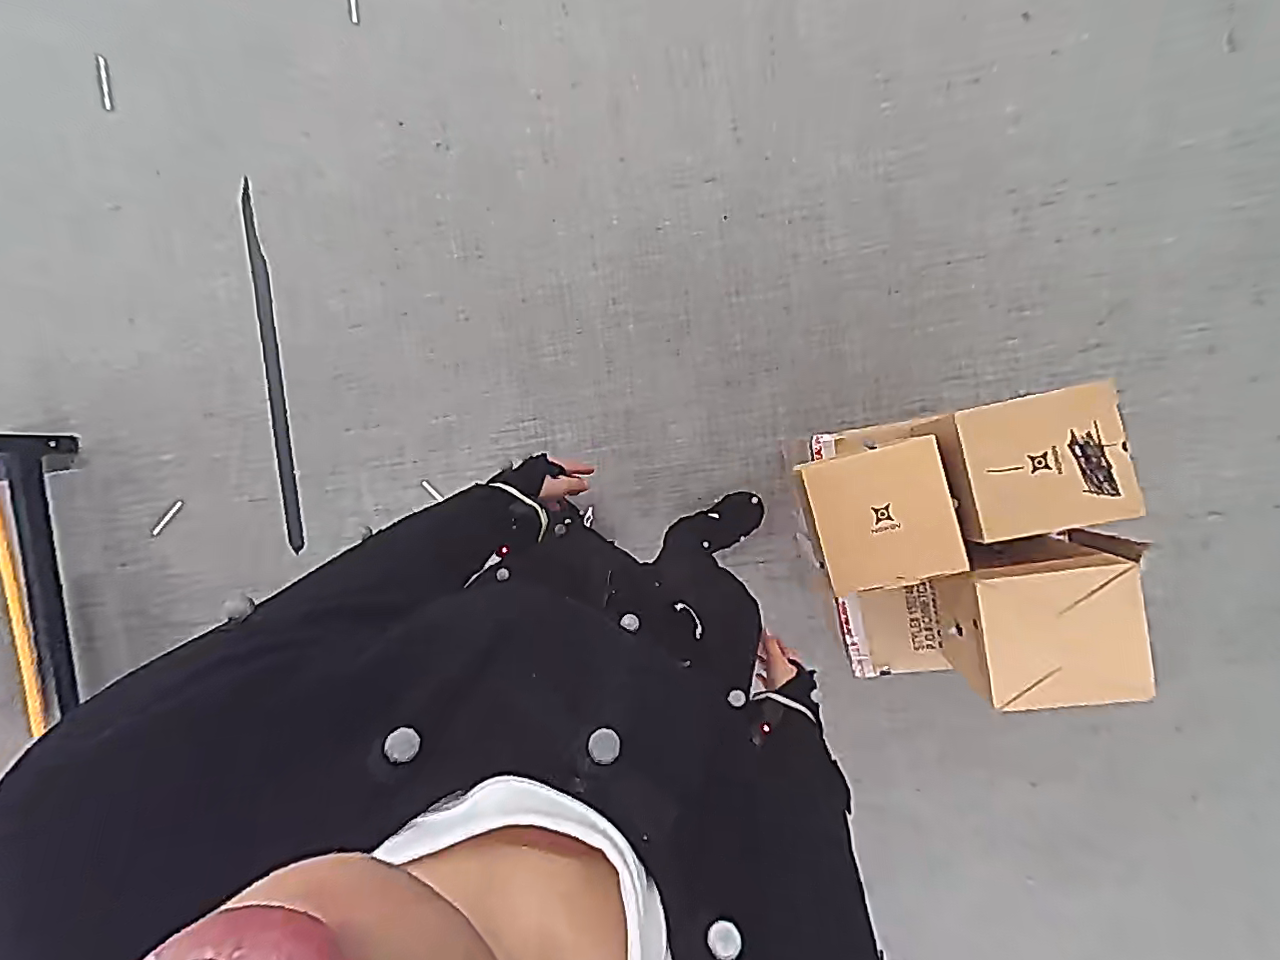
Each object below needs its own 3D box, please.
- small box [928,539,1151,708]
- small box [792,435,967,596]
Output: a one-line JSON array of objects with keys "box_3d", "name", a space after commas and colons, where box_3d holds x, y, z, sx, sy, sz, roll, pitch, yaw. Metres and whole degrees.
[{"box_3d": [0.514, 0.184, 0.722, 0.179, 0.176, 0.168, -10, 93, 11], "name": "small box"}, {"box_3d": [0.319, 0.044, 0.758, 0.168, 0.176, 0.179, -15, 90, 12], "name": "small box"}]
